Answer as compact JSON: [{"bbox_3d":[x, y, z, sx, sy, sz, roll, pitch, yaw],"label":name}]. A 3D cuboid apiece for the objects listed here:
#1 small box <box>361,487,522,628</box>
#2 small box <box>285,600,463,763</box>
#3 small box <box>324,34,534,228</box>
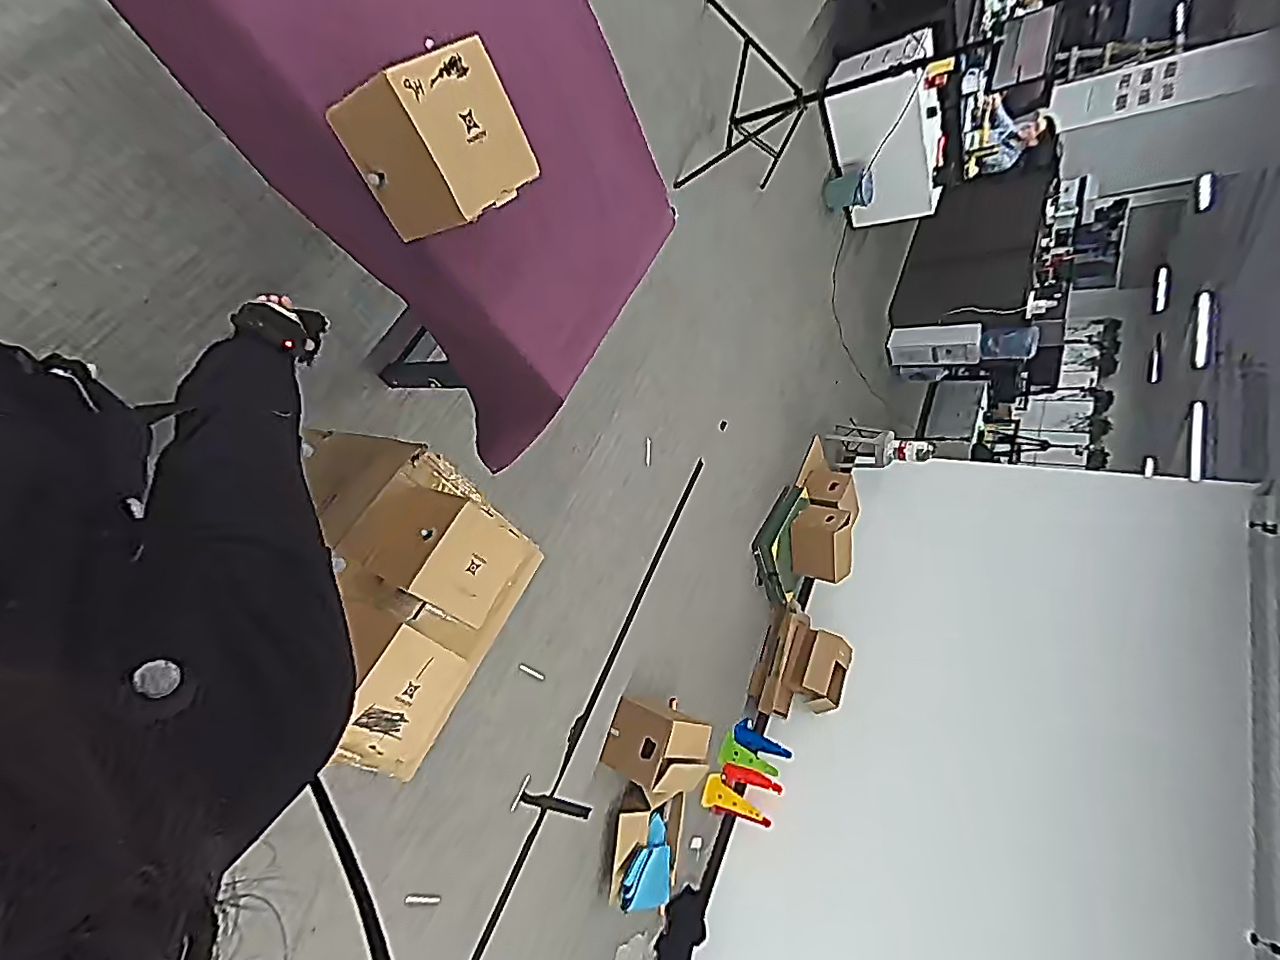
[{"bbox_3d":[-0.352,0.130,0.959,0.168,0.176,0.179,51,59,-42],"label":"small box"},{"bbox_3d":[-0.437,0.322,0.883,0.168,0.176,0.179,55,53,-41],"label":"small box"},{"bbox_3d":[-0.289,-0.473,0.756,0.168,0.176,0.179,-54,135,-33],"label":"small box"}]
